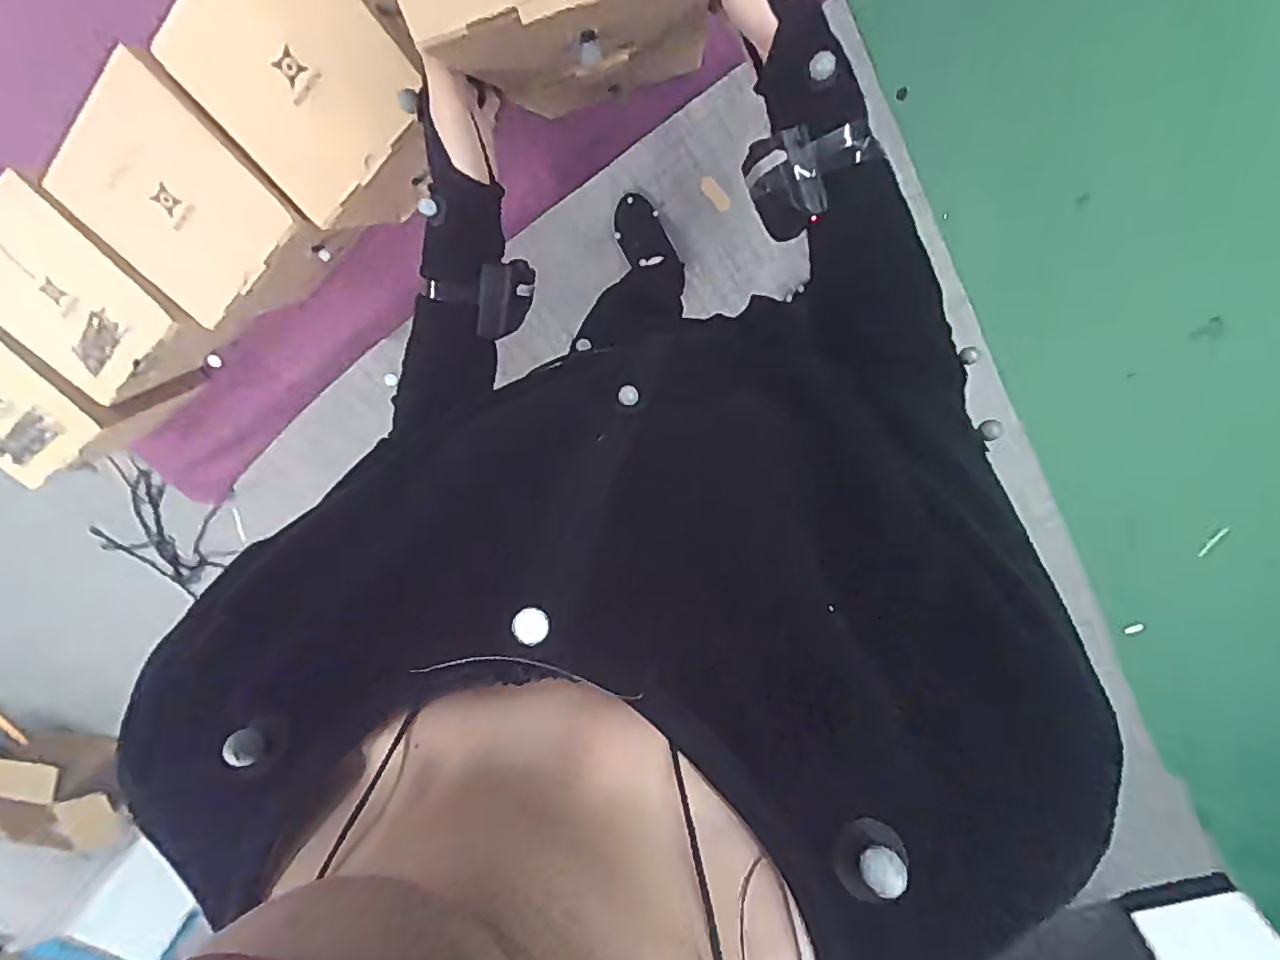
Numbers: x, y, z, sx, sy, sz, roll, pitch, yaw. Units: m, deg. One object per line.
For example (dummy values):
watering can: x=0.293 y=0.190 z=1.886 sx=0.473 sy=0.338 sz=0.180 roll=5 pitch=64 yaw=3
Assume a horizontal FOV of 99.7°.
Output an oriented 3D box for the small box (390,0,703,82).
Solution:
small box: x=-0.056 y=-0.349 z=0.304 sx=0.168 sy=0.176 sz=0.179 roll=-9 pitch=119 yaw=10

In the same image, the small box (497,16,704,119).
small box: x=-0.045 y=-0.427 z=0.448 sx=0.168 sy=0.176 sz=0.179 roll=-10 pitch=119 yaw=12
